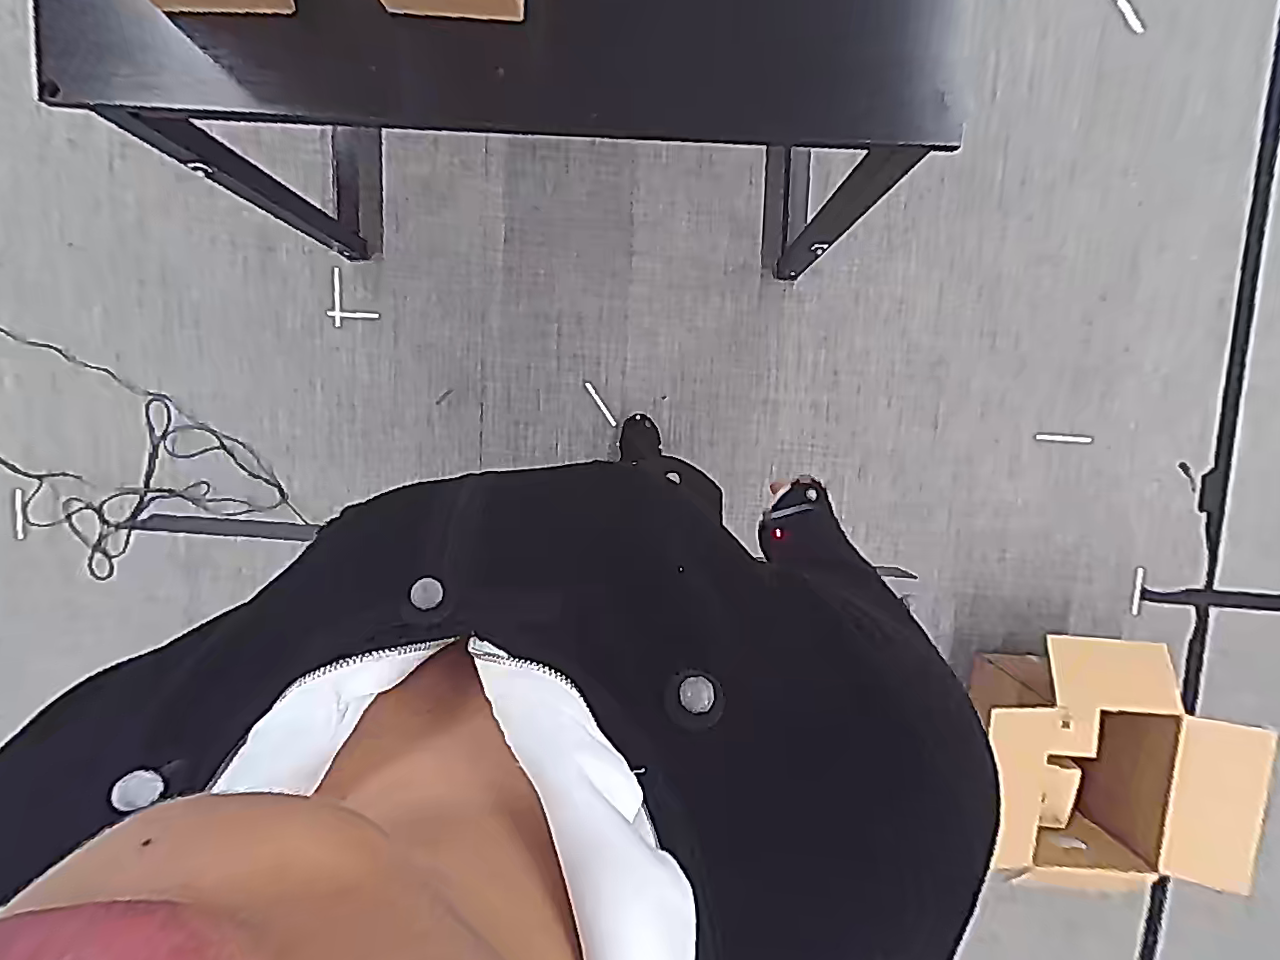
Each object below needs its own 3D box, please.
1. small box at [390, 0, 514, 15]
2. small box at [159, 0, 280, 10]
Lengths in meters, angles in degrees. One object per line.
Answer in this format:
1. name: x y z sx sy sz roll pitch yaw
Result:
1. small box: -0.230 -0.672 0.608 0.179 0.176 0.168 4 95 0
2. small box: -0.526 -0.677 0.607 0.179 0.176 0.168 0 95 0
